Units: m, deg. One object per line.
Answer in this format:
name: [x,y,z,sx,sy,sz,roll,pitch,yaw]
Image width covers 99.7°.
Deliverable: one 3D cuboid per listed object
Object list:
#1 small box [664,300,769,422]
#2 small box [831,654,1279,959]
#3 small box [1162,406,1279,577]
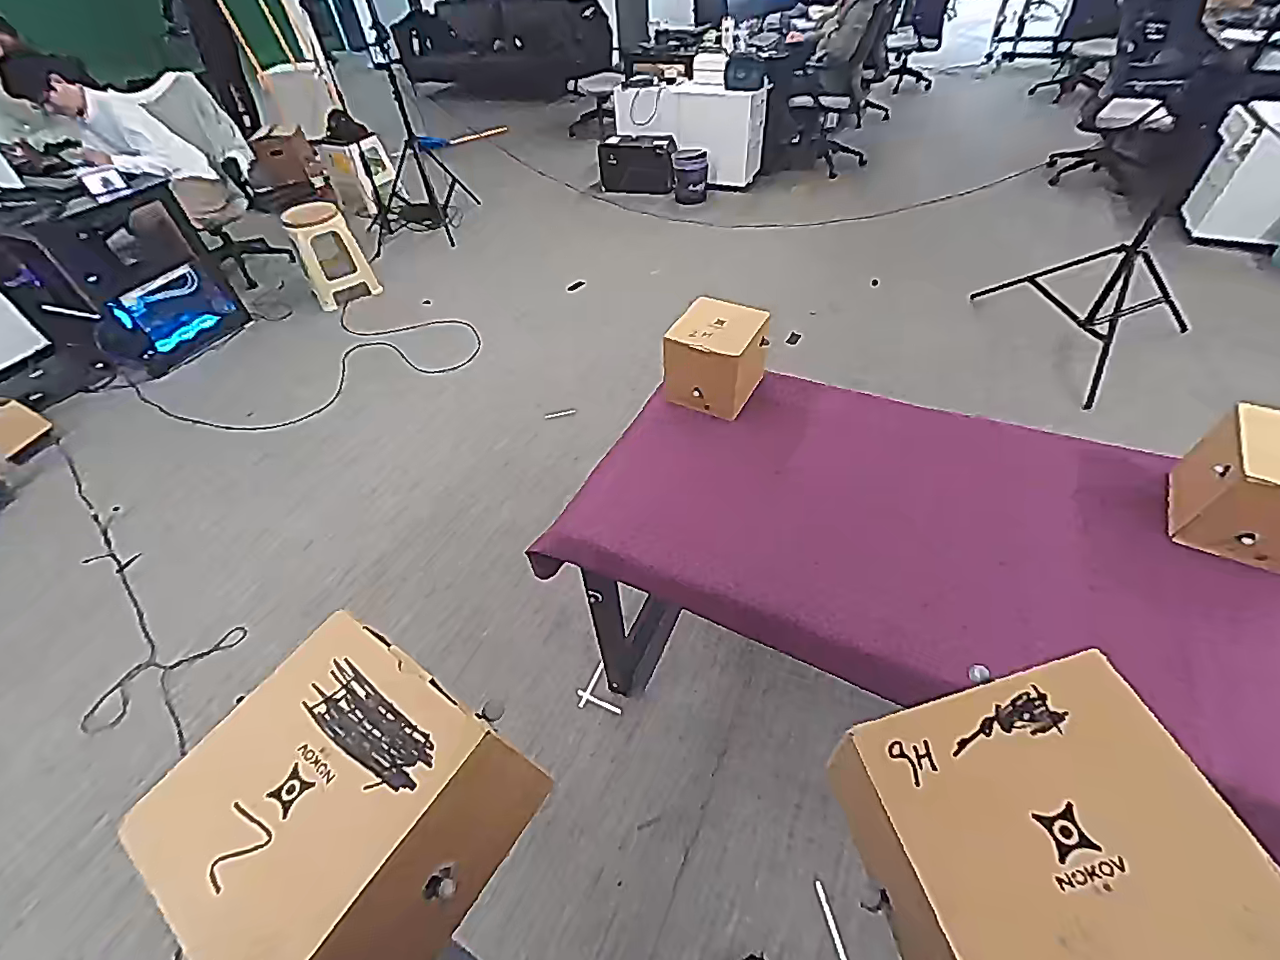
small box: [0.162,-0.257,1.168,0.168,0.176,0.179,21,54,22]
small box: [0.244,0.243,0.353,0.168,0.176,0.179,-17,54,-1]
small box: [0.977,0.019,0.855,0.168,0.176,0.179,21,56,22]
